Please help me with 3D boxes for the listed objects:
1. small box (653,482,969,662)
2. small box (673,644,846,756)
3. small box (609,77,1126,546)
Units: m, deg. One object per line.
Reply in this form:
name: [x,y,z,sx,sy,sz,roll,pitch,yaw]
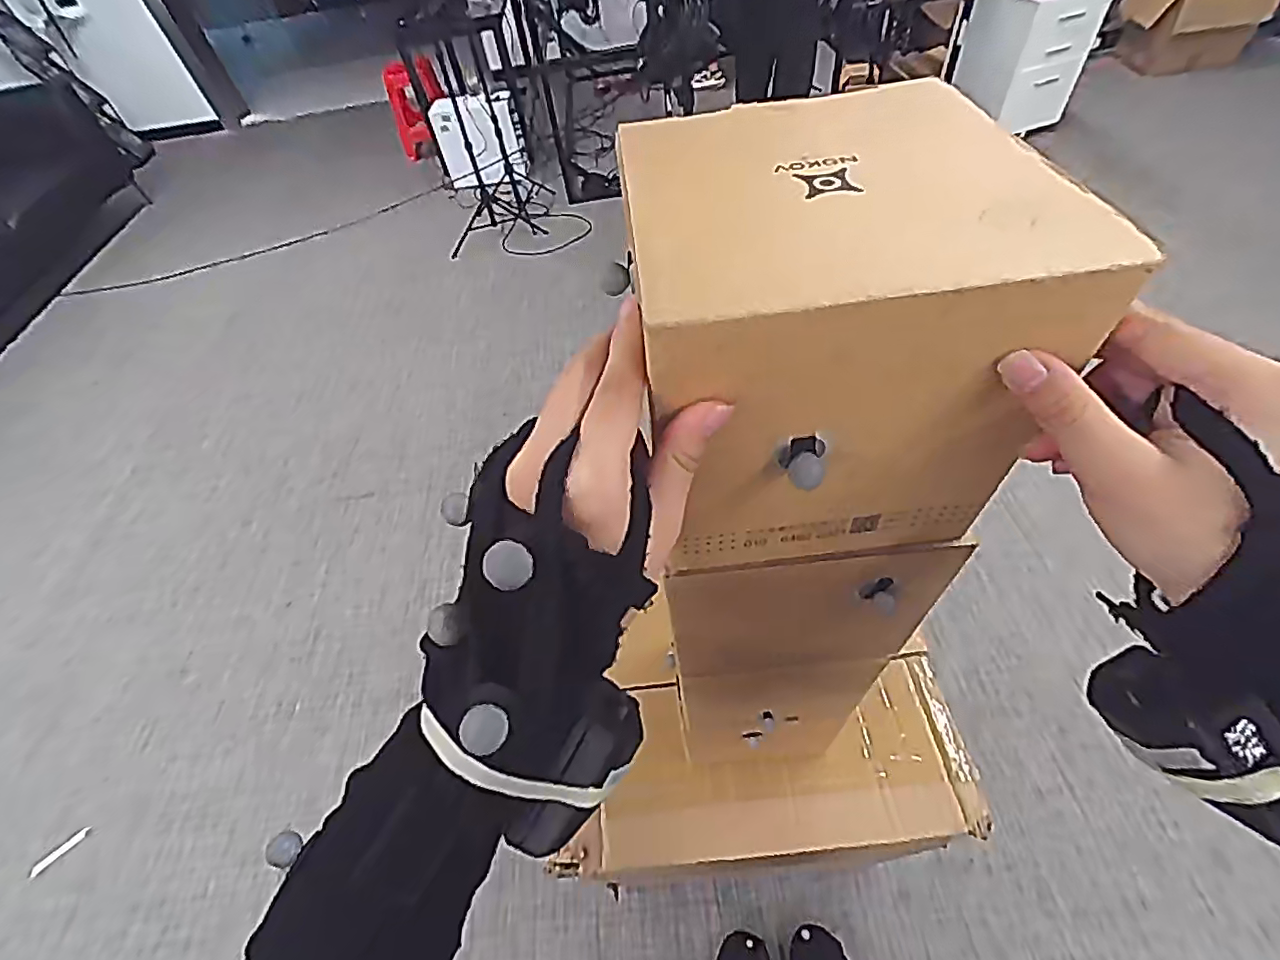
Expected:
small box: [0.102,0.026,0.414,0.179,0.176,0.168,-7,51,3]
small box: [0.133,0.231,0.669,0.179,0.176,0.168,-6,51,3]
small box: [0.080,-0.078,0.290,0.168,0.176,0.179,-8,51,2]
